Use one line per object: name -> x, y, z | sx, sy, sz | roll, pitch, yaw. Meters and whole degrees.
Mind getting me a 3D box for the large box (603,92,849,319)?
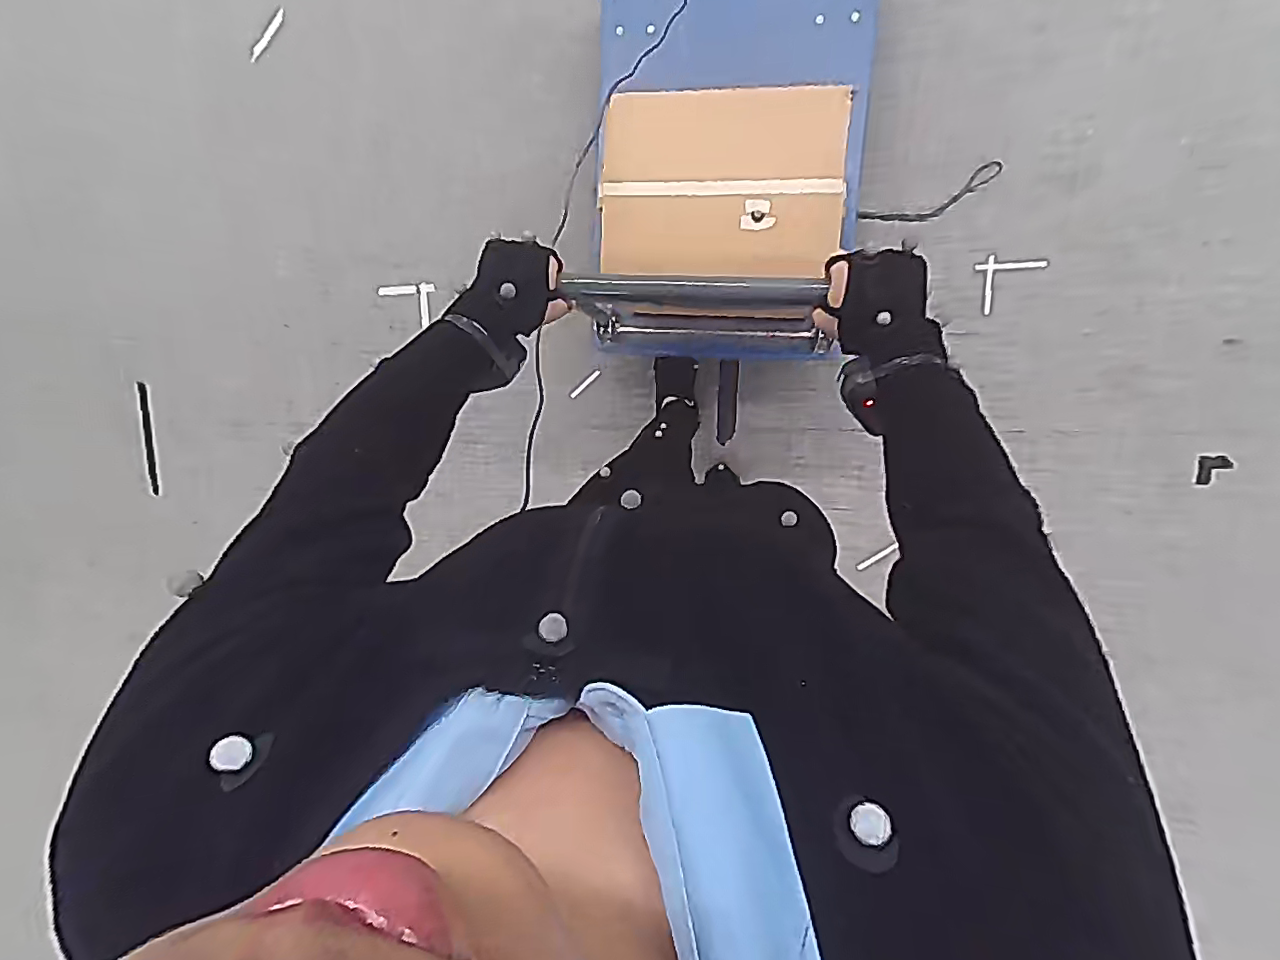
large box -> 0.153, -0.500, 1.059 | 0.408, 0.320, 0.320 | 4, 98, 8
